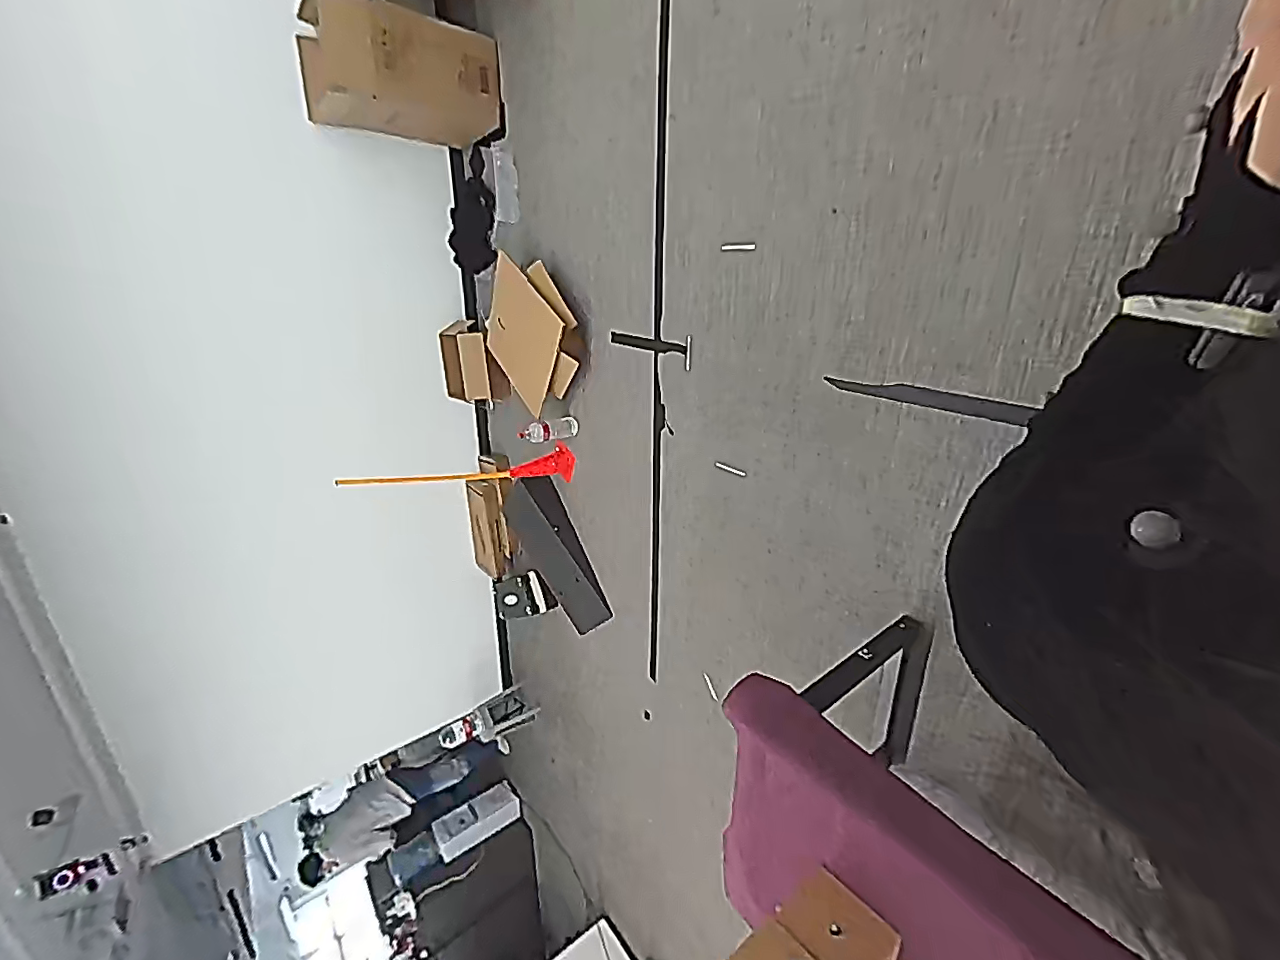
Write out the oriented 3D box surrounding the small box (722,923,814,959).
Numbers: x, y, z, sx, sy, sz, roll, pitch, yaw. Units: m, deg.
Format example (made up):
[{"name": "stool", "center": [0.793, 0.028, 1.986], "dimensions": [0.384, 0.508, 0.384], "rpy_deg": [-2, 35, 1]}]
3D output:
[{"name": "small box", "center": [0.241, 0.938, 0.950], "dimensions": [0.179, 0.176, 0.168], "rpy_deg": [19, 118, 49]}]
